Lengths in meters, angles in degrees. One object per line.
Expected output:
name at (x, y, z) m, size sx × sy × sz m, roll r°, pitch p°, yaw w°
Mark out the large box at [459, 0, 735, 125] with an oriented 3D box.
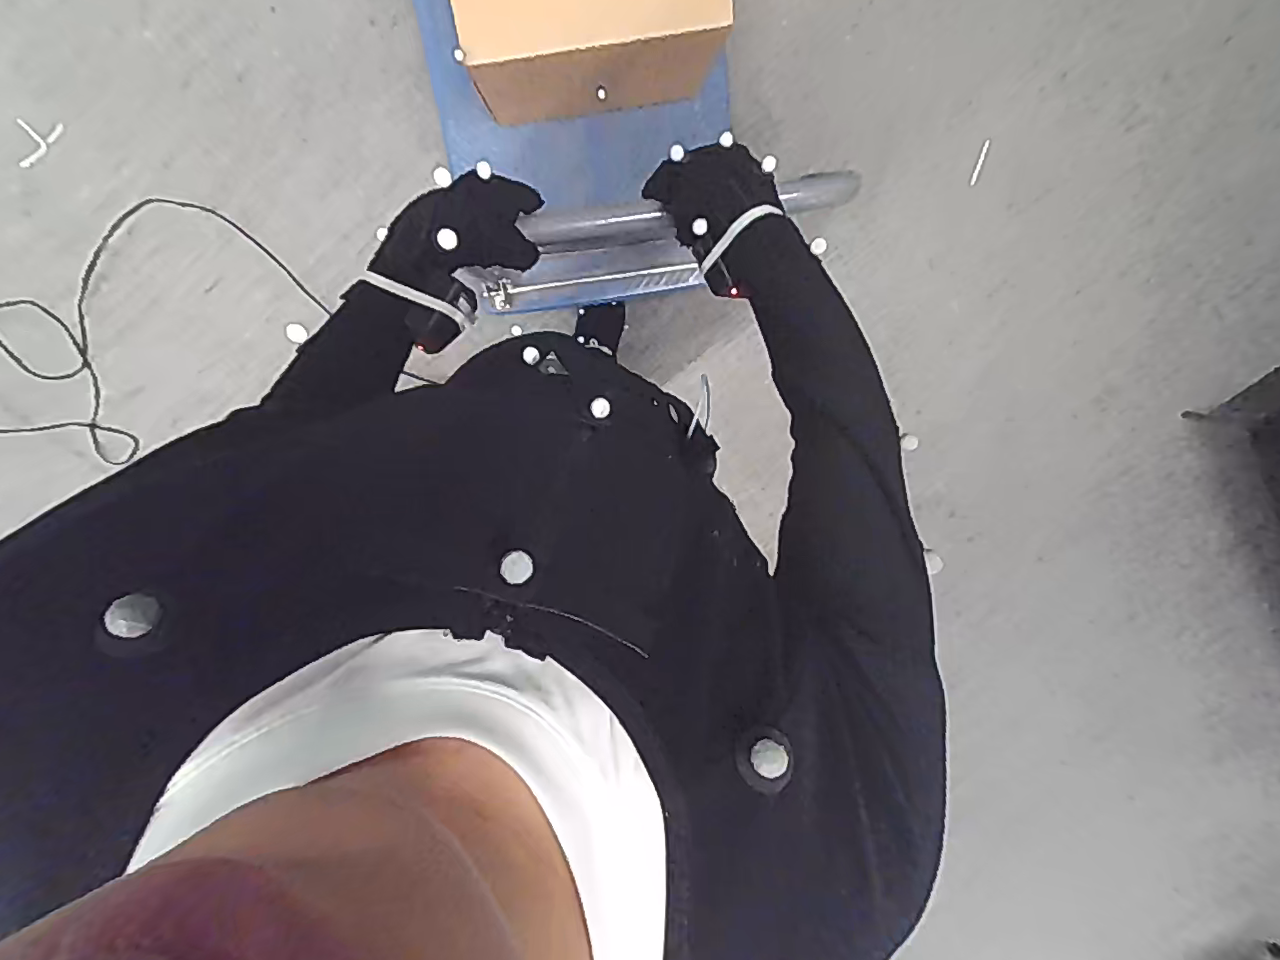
large box at (-0.085, -0.834, 0.896) m, size 0.408 × 0.320 × 0.320 m, roll -10°, pitch 109°, yaw -1°
